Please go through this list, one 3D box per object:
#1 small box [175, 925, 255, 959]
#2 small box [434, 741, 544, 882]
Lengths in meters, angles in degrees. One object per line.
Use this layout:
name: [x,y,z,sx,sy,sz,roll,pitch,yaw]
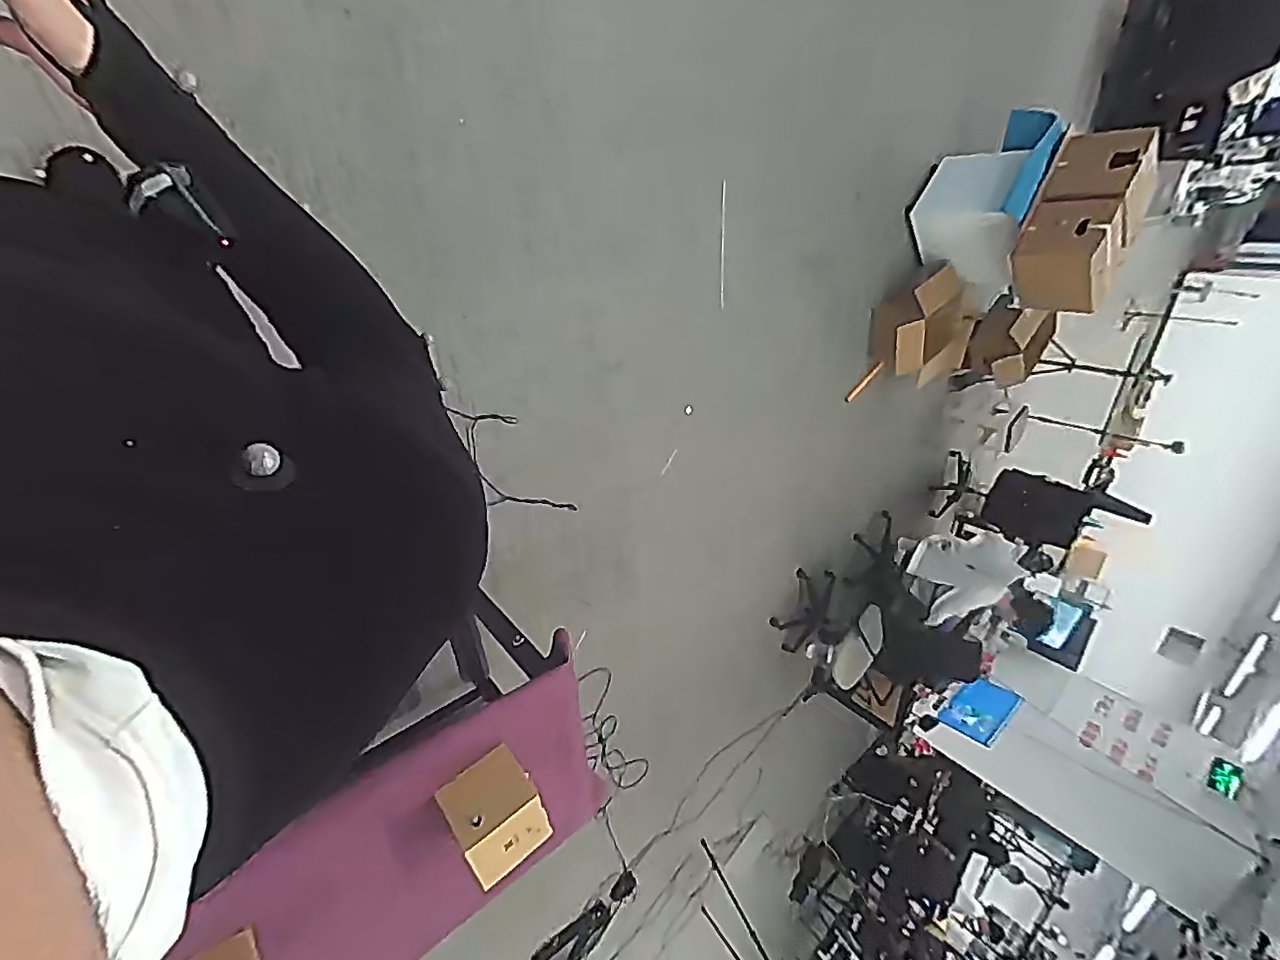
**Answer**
small box: [-0.763,0.941,0.936,0.179,0.176,0.168,-12,118,-39]
small box: [-0.347,0.745,1.230,0.179,0.176,0.168,-29,128,-31]
